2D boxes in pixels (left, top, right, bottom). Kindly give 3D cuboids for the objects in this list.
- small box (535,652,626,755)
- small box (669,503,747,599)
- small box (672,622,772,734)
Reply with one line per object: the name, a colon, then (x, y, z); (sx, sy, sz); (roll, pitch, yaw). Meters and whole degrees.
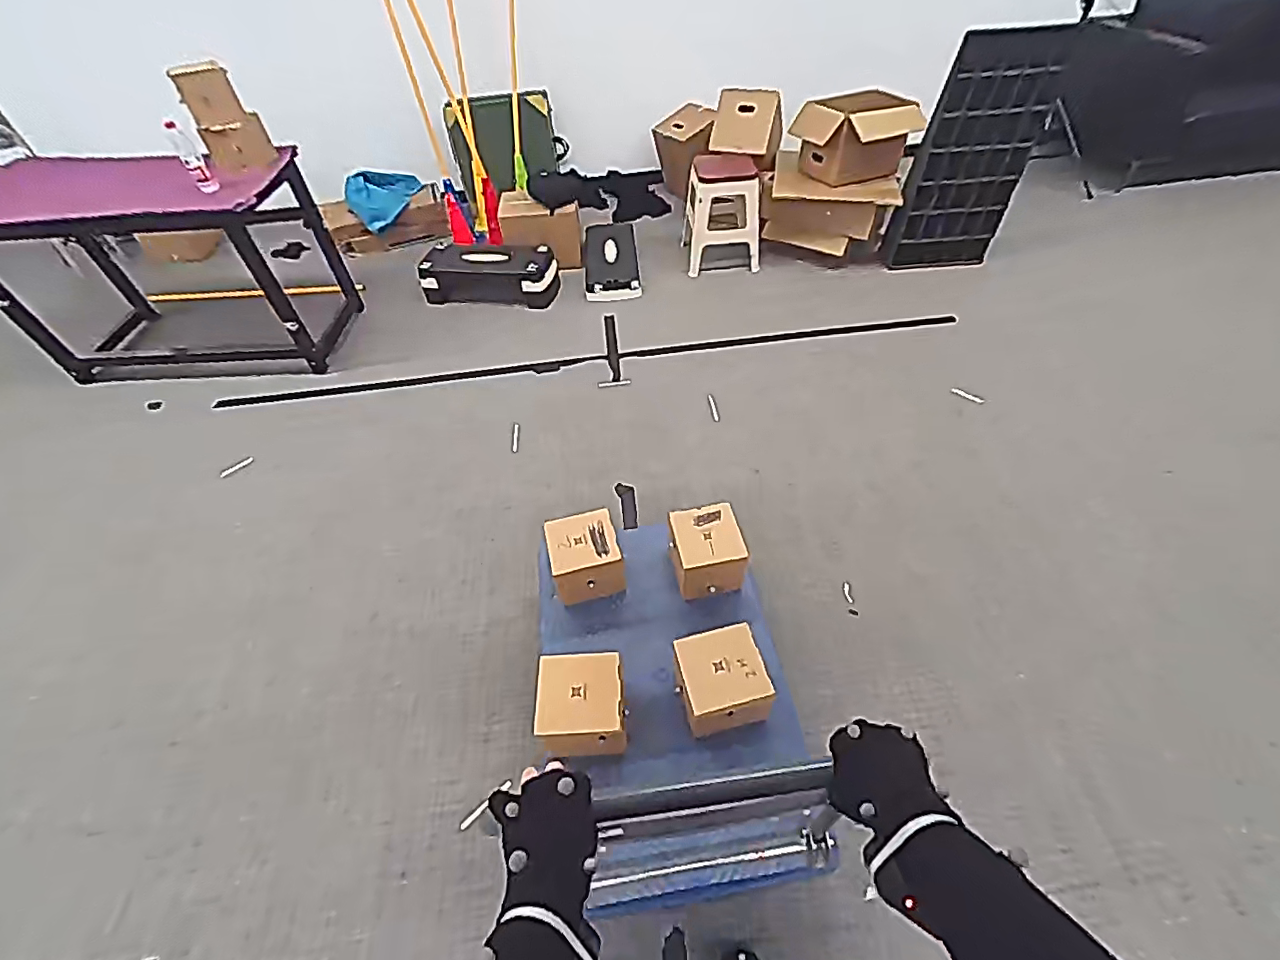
small box: (-0.124, 0.497, 1.197); (0.179, 0.176, 0.168); (-3, 49, 0)
small box: (0.172, 0.190, 1.436); (0.168, 0.176, 0.179); (-10, 51, -4)
small box: (0.178, 0.448, 1.215); (0.179, 0.176, 0.168); (-13, 50, -6)
